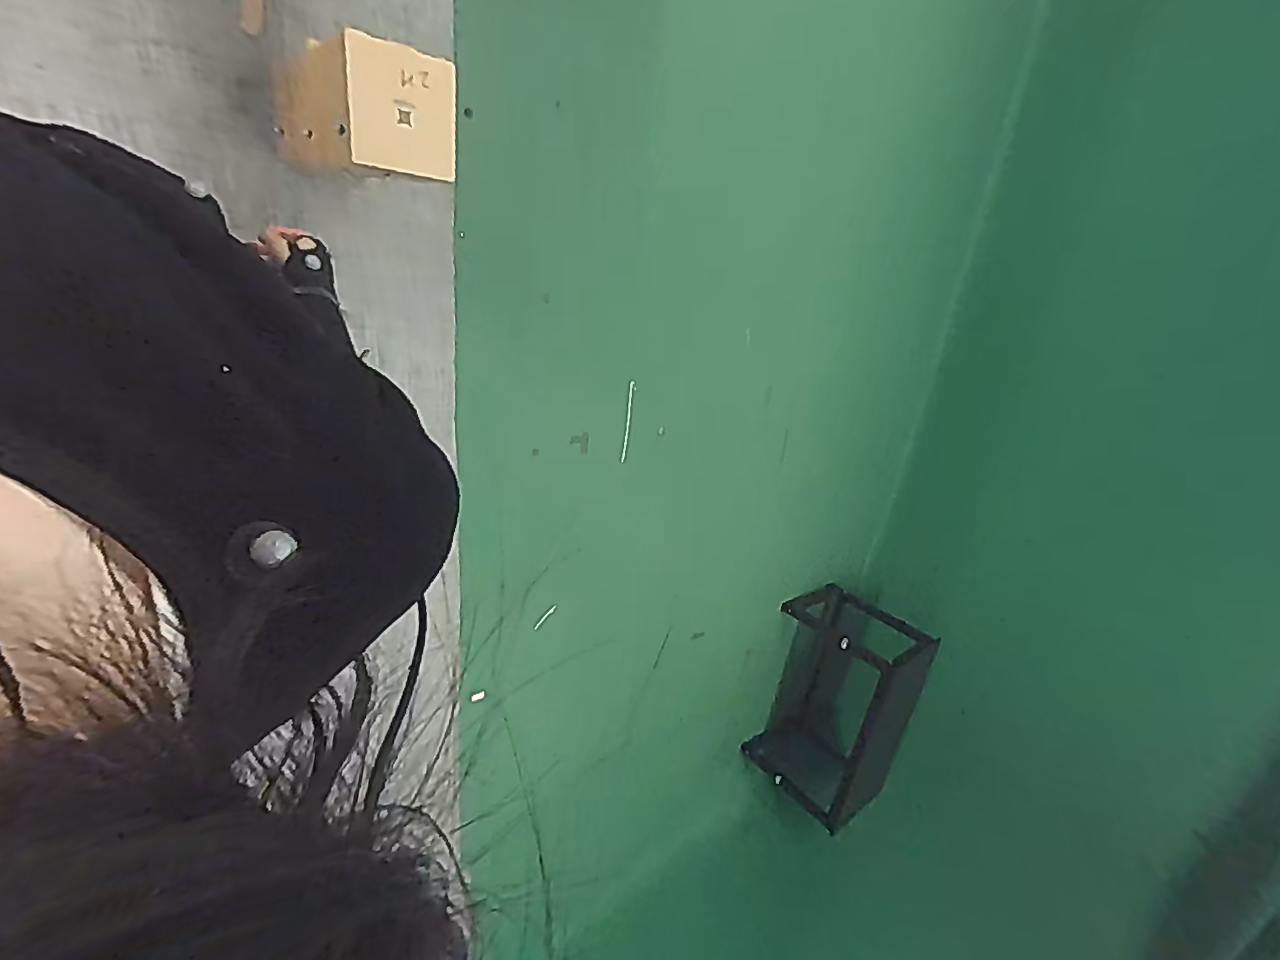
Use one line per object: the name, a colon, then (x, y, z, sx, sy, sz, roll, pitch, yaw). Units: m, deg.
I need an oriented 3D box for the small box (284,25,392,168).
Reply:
small box: (-0.541, -0.692, 1.000, 0.168, 0.176, 0.179, -12, 120, -39)

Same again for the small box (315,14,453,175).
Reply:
small box: (-0.426, -0.624, 0.901, 0.168, 0.176, 0.179, -11, 120, -40)

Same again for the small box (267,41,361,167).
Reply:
small box: (-0.648, -0.752, 1.106, 0.179, 0.176, 0.168, -9, 117, -40)
